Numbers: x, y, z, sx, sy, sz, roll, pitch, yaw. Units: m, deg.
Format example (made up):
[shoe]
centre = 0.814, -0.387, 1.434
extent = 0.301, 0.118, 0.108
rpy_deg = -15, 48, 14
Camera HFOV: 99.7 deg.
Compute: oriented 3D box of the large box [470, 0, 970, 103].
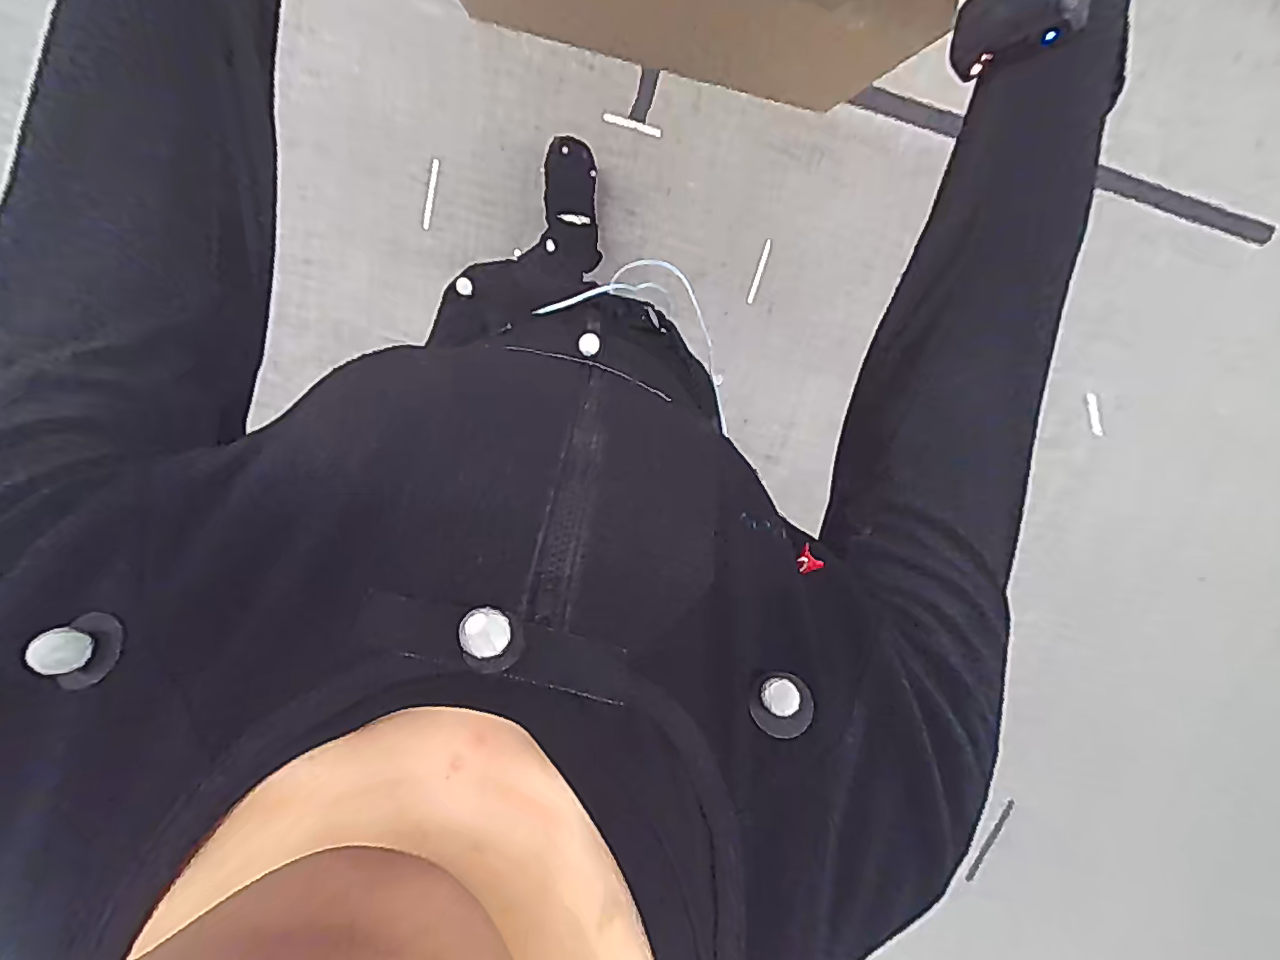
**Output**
[large box]
centre = 0.053, -0.540, 0.407
extent = 0.408, 0.320, 0.320
rpy_deg = 10, 114, -7
